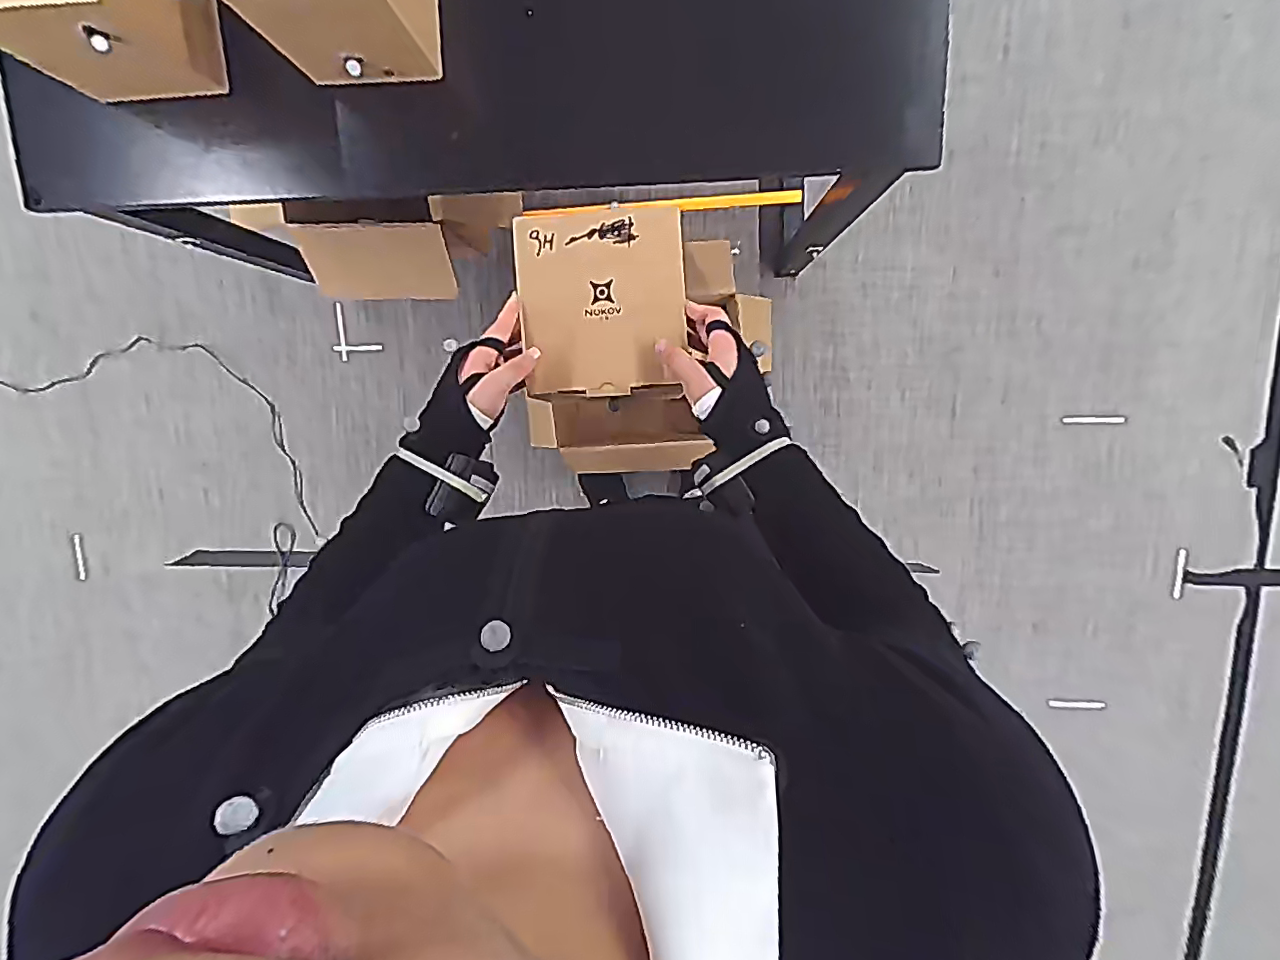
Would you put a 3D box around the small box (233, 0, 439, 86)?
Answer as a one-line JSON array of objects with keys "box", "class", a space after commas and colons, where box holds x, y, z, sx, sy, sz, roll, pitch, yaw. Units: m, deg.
[{"box": [-0.336, -0.576, 0.594, 0.168, 0.176, 0.179, 0, 99, 3], "class": "small box"}]

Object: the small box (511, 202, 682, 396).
[{"box": [-0.038, -0.187, 0.613, 0.168, 0.176, 0.179, -3, 95, 2], "class": "small box"}]

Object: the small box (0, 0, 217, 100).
[{"box": [-0.621, -0.562, 0.608, 0.179, 0.176, 0.168, -2, 98, 3], "class": "small box"}]
